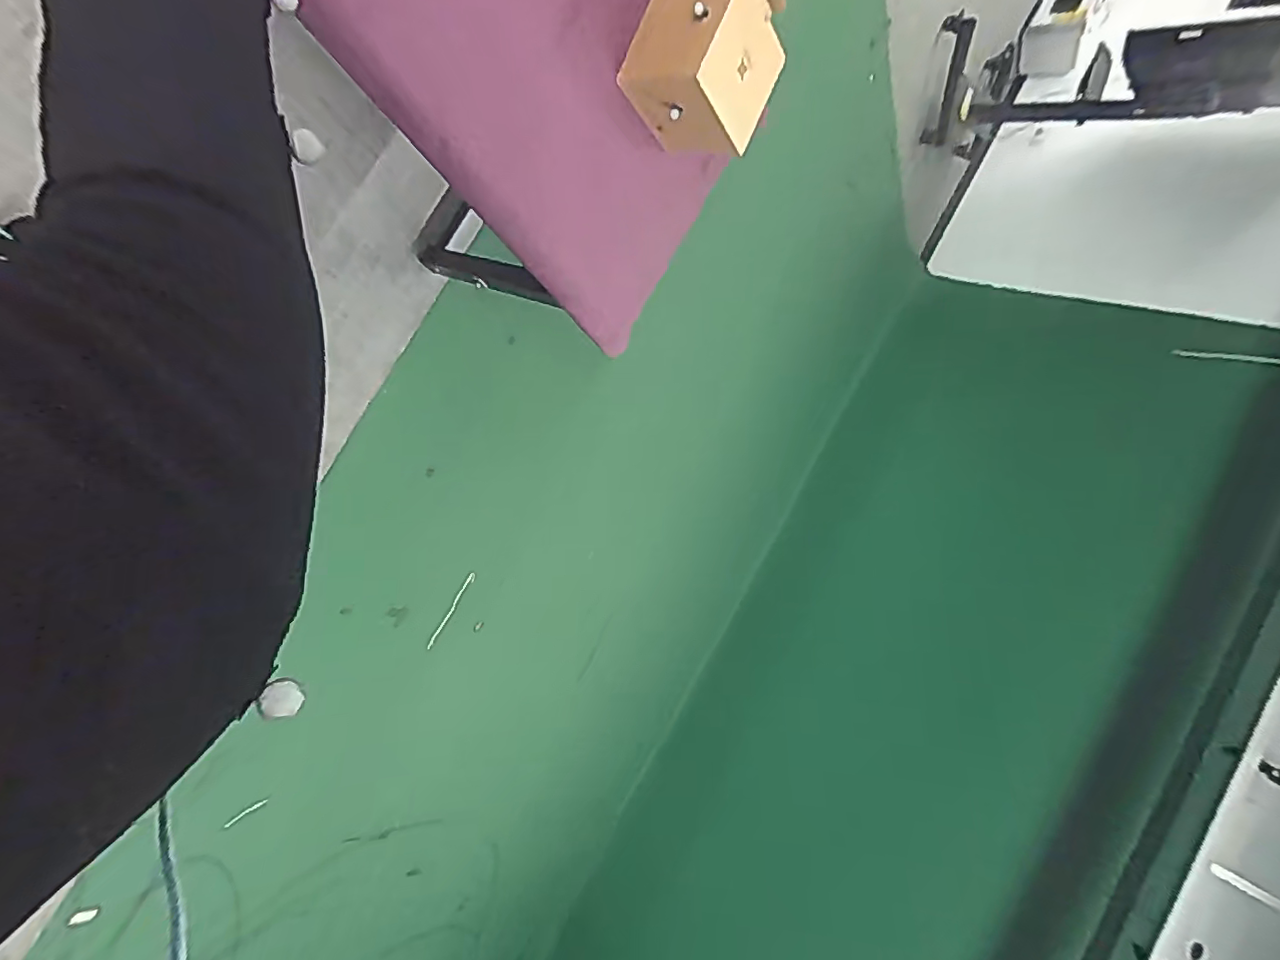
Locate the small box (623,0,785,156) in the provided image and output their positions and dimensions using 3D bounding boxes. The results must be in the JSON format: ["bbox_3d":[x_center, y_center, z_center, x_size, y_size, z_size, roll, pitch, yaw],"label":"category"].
[{"bbox_3d":[0.098,-0.656,0.867,0.168,0.176,0.179,21,94,-55],"label":"small box"}]
